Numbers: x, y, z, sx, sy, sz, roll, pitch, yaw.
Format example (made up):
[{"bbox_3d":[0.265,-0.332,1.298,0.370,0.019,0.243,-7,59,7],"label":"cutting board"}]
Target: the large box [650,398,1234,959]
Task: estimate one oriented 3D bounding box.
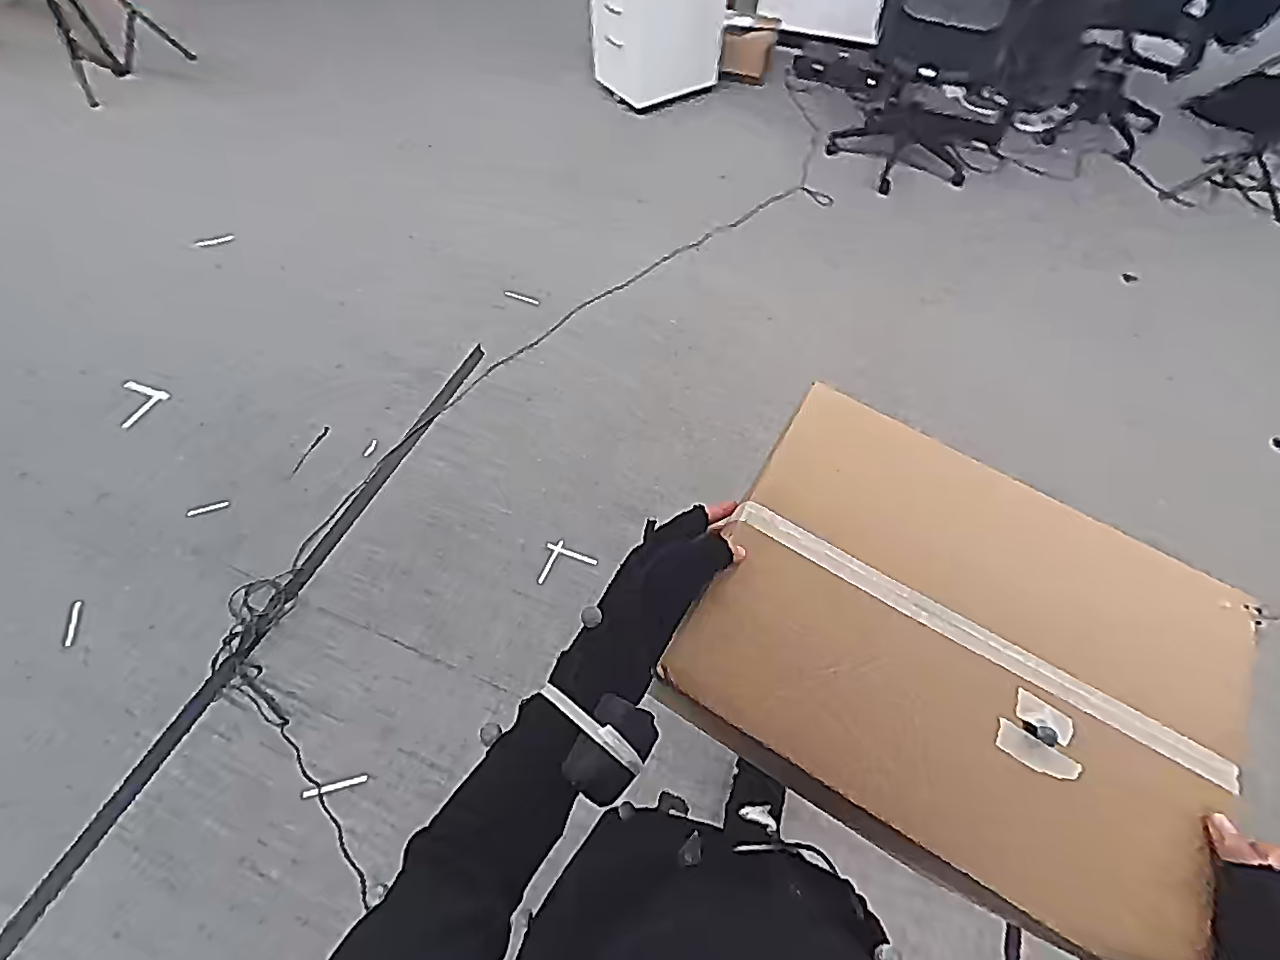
[{"bbox_3d":[0.262,0.186,0.584,0.408,0.320,0.320,30,70,10],"label":"large box"}]
